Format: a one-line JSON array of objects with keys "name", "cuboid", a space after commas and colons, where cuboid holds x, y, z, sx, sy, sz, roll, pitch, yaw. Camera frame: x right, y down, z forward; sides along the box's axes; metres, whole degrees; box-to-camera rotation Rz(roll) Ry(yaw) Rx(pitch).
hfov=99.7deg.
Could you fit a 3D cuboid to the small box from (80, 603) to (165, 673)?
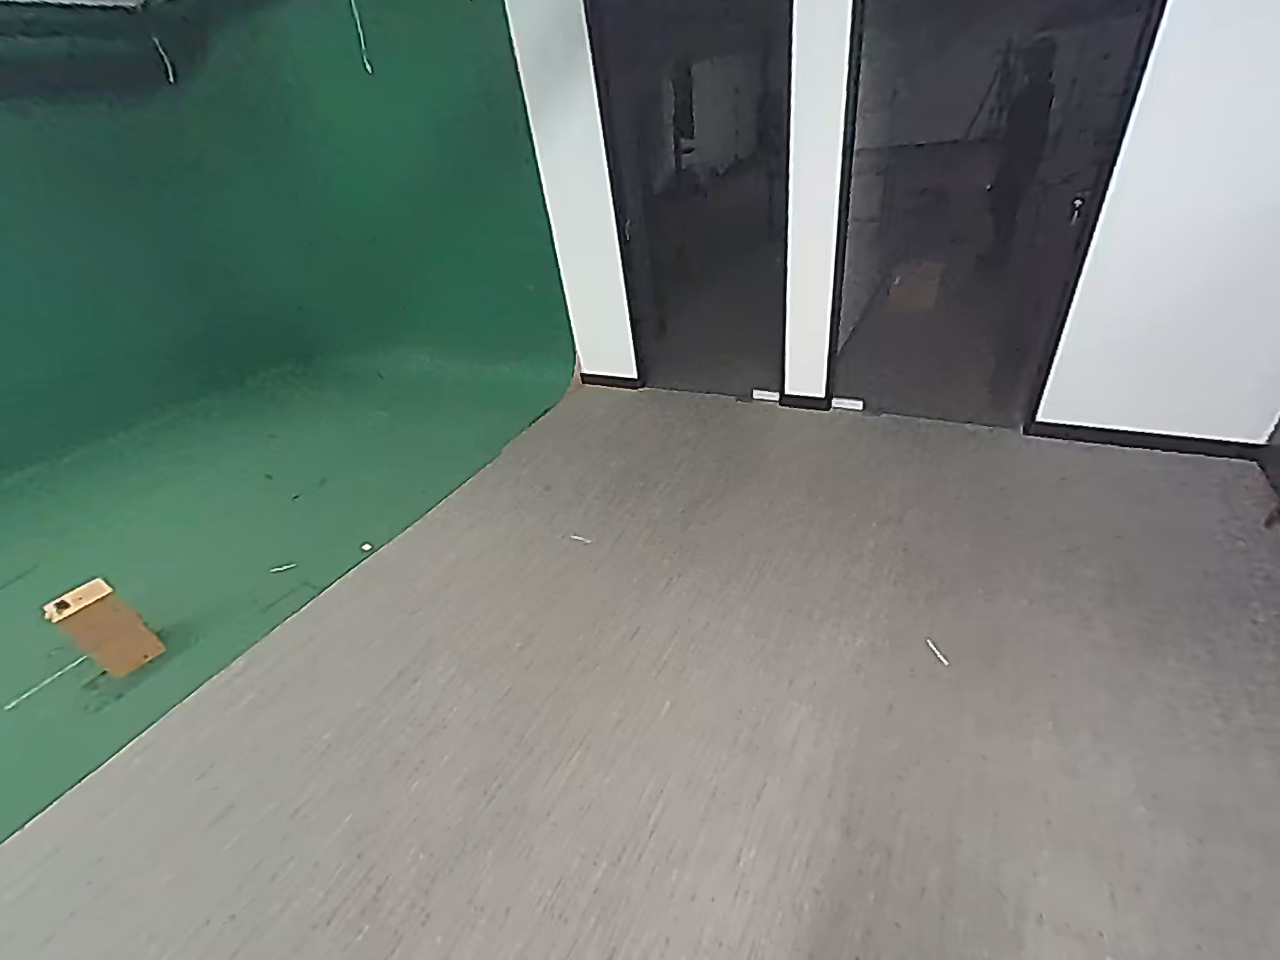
[{"name": "small box", "cuboid": [-2.006, 0.619, 2.103, 0.179, 0.176, 0.168, 18, 42, 33]}]
